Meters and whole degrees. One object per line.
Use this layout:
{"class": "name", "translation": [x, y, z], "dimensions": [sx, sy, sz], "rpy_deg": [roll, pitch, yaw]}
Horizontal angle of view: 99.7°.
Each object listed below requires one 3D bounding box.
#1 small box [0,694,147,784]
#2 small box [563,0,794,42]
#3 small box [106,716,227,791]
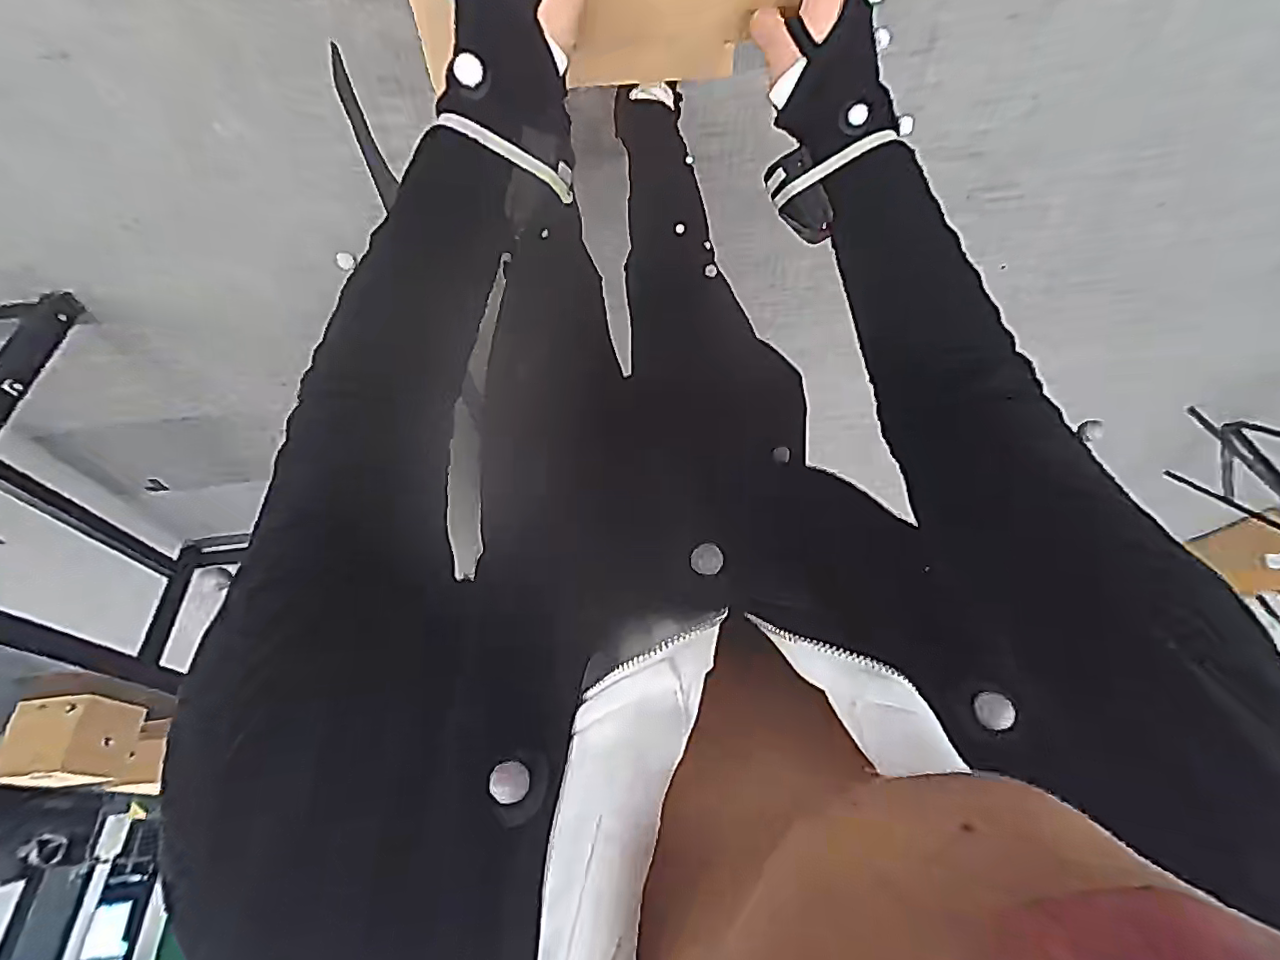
{"class": "small box", "translation": [-1.367, 0.623, 1.307], "dimensions": [0.168, 0.176, 0.179], "rpy_deg": [-5, 148, -2]}
{"class": "small box", "translation": [0.023, -0.453, 0.385], "dimensions": [0.179, 0.176, 0.168], "rpy_deg": [-5, 153, -3]}
{"class": "small box", "translation": [-1.348, 0.783, 1.555], "dimensions": [0.168, 0.176, 0.179], "rpy_deg": [-6, 147, 1]}
